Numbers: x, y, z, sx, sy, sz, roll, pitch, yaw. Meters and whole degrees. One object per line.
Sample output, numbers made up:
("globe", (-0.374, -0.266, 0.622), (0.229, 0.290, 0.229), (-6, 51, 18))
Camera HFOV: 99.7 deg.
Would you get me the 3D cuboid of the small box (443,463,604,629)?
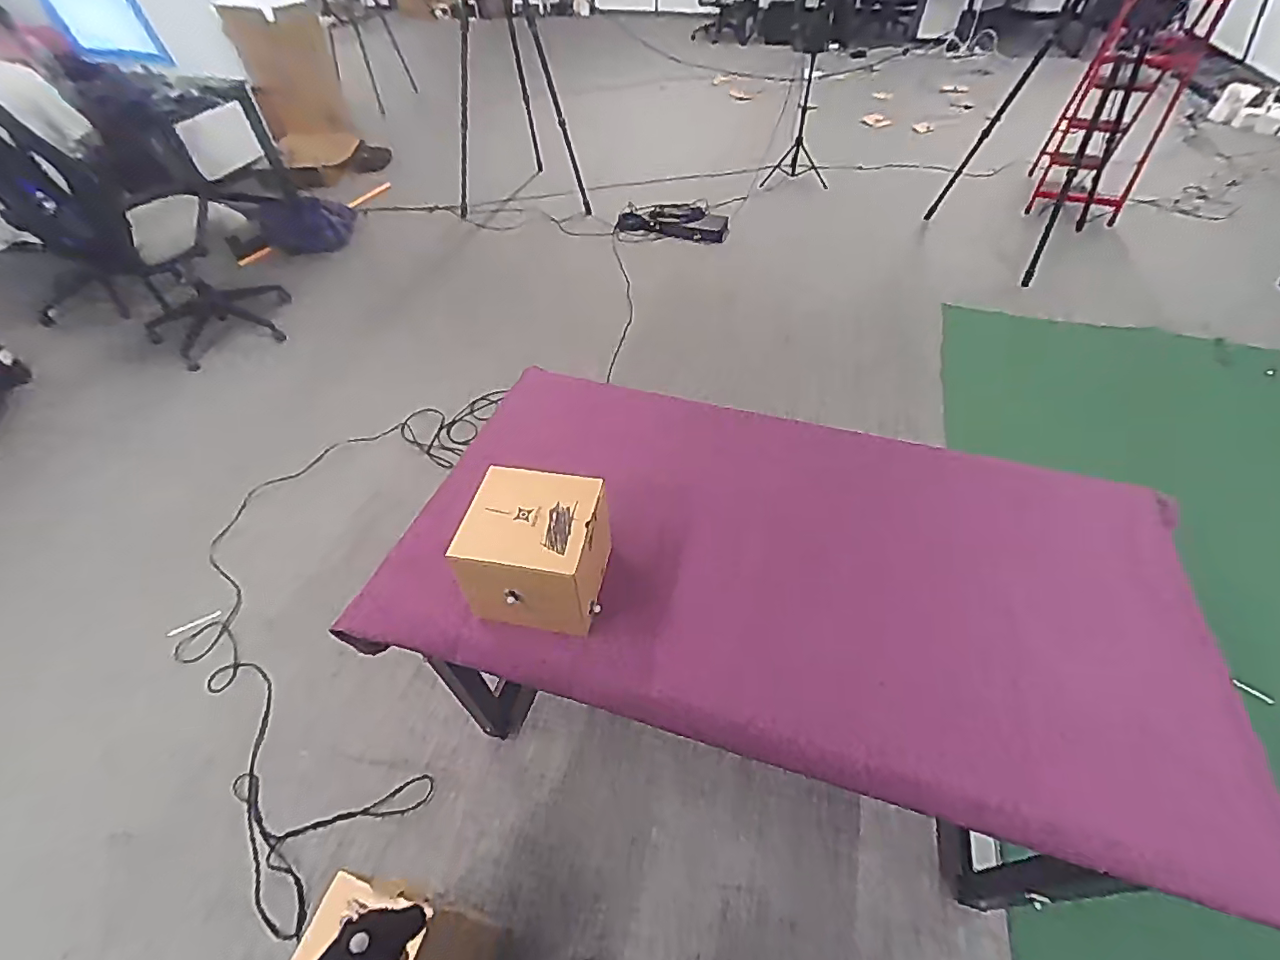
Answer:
("small box", (-0.155, 0.101, 0.798), (0.179, 0.176, 0.168), (8, 49, 8))
